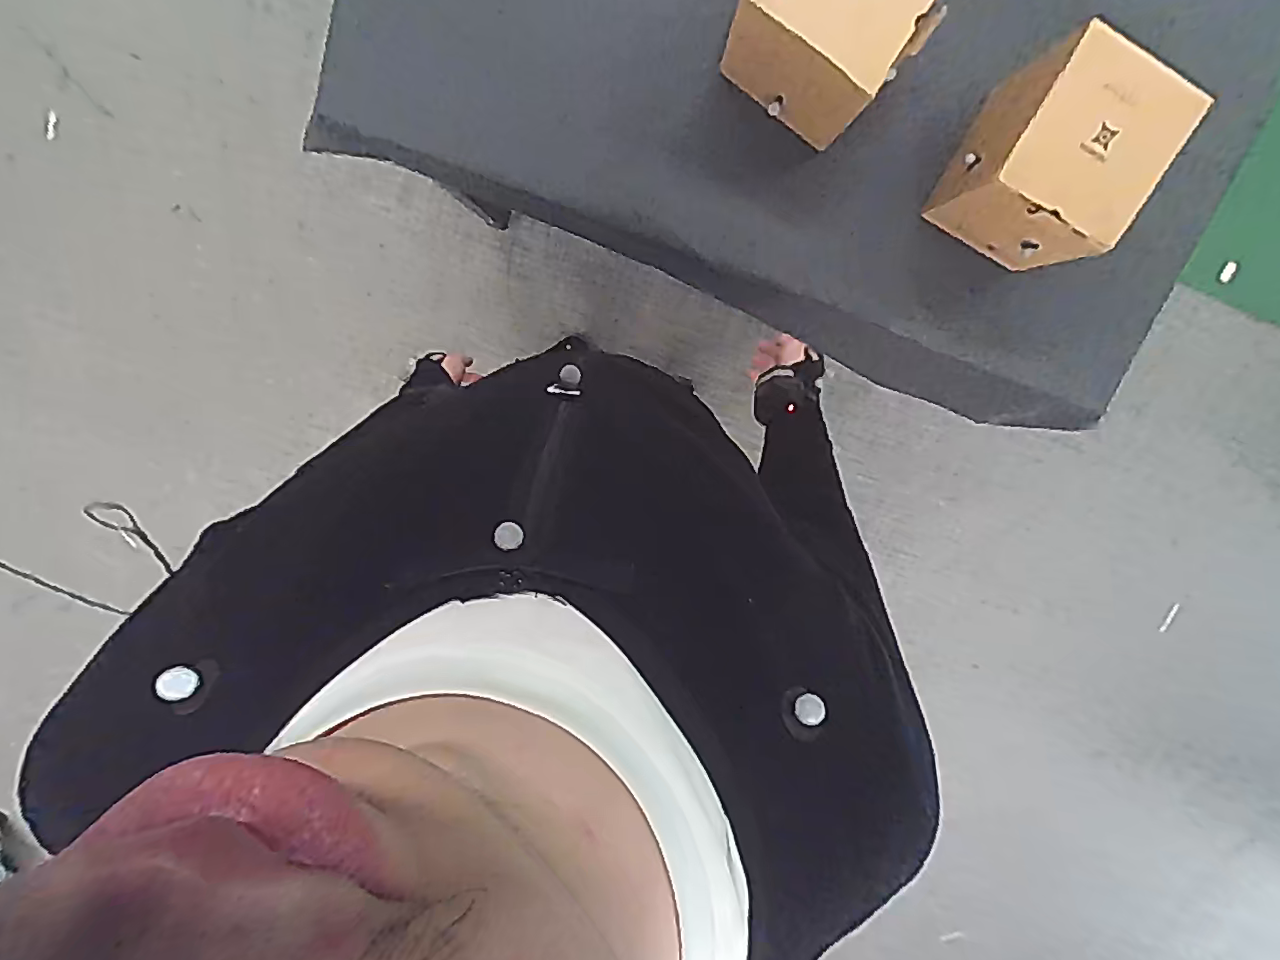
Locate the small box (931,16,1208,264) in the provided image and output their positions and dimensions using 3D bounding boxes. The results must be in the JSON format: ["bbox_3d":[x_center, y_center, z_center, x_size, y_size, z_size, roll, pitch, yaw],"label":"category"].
[{"bbox_3d":[0.498,-0.390,0.664,0.168,0.176,0.179,27,101,-8],"label":"small box"}]

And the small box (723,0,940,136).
[{"bbox_3d":[0.220,-0.539,0.624,0.179,0.176,0.168,33,101,-9],"label":"small box"}]
